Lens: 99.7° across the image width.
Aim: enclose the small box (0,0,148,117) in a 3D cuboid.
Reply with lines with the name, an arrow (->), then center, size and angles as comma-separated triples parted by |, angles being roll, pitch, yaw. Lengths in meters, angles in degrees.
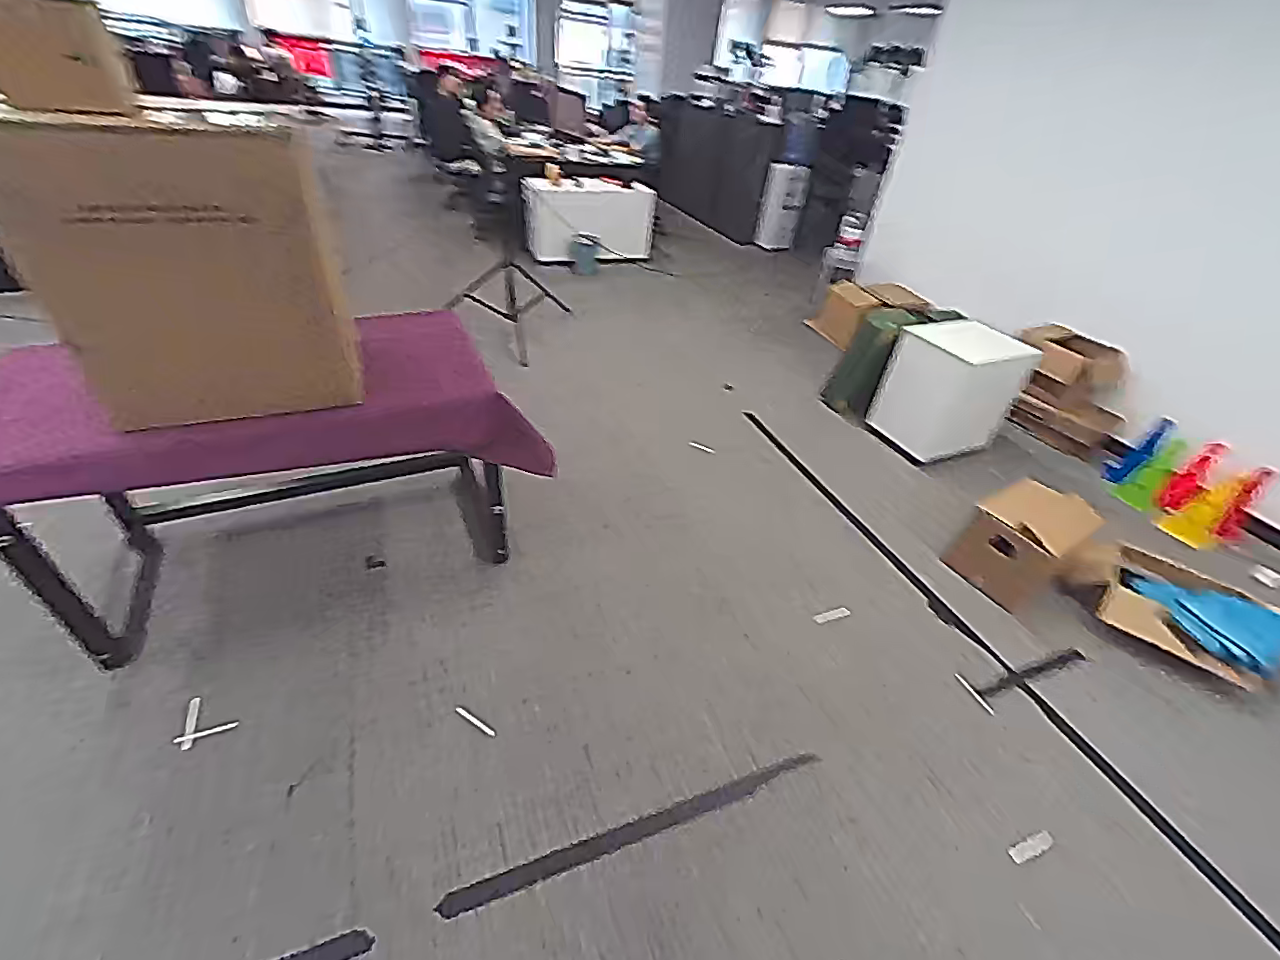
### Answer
small box -> -1.064, -0.783, 1.003 | 0.179, 0.176, 0.168 | -14, 42, -24
